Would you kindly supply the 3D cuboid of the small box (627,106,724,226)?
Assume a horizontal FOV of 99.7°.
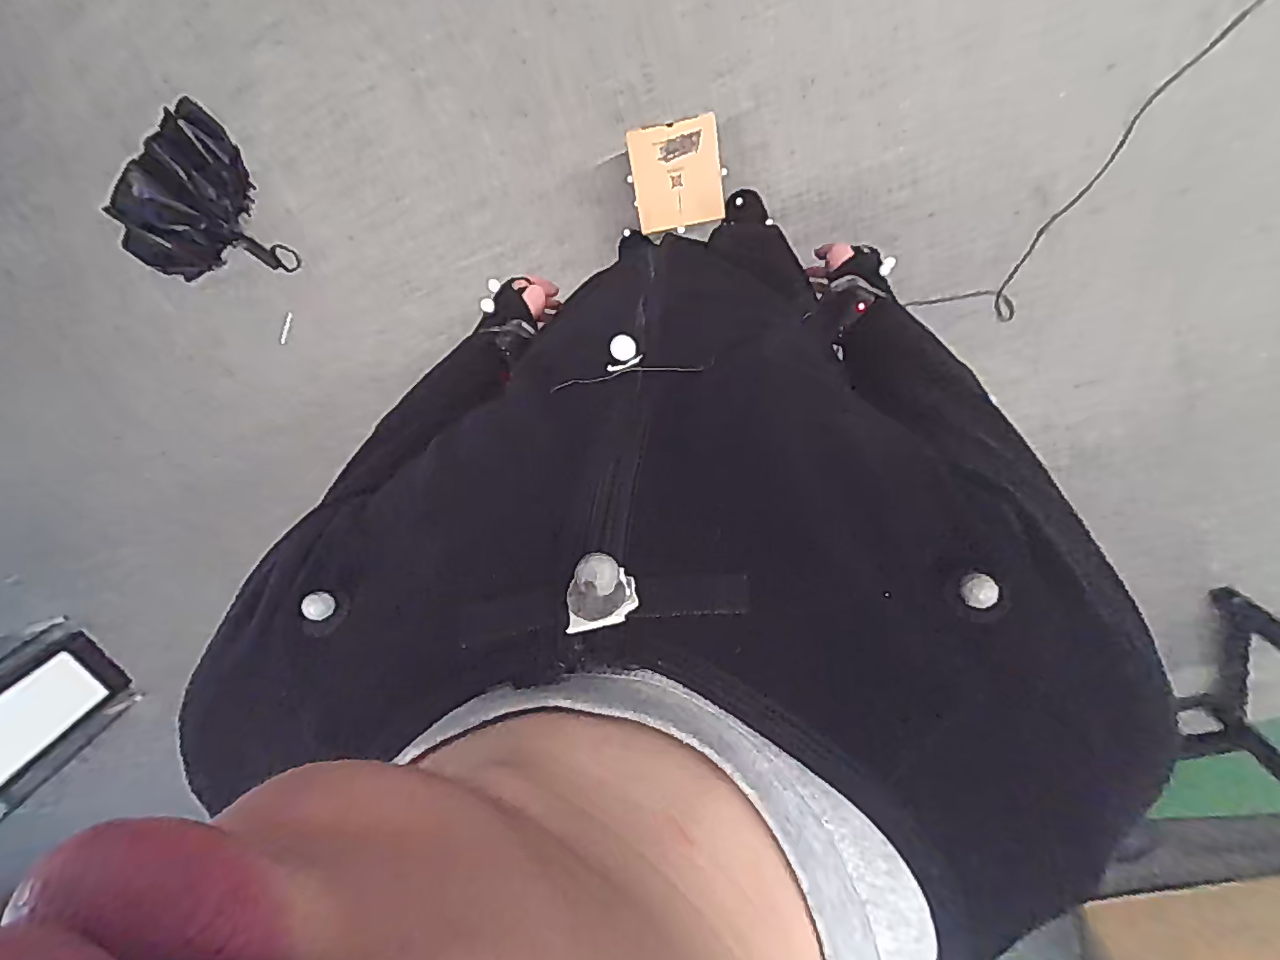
[{"bbox_3d":[0.073,-0.616,1.077,0.168,0.176,0.179,-6,118,9],"label":"small box"}]
